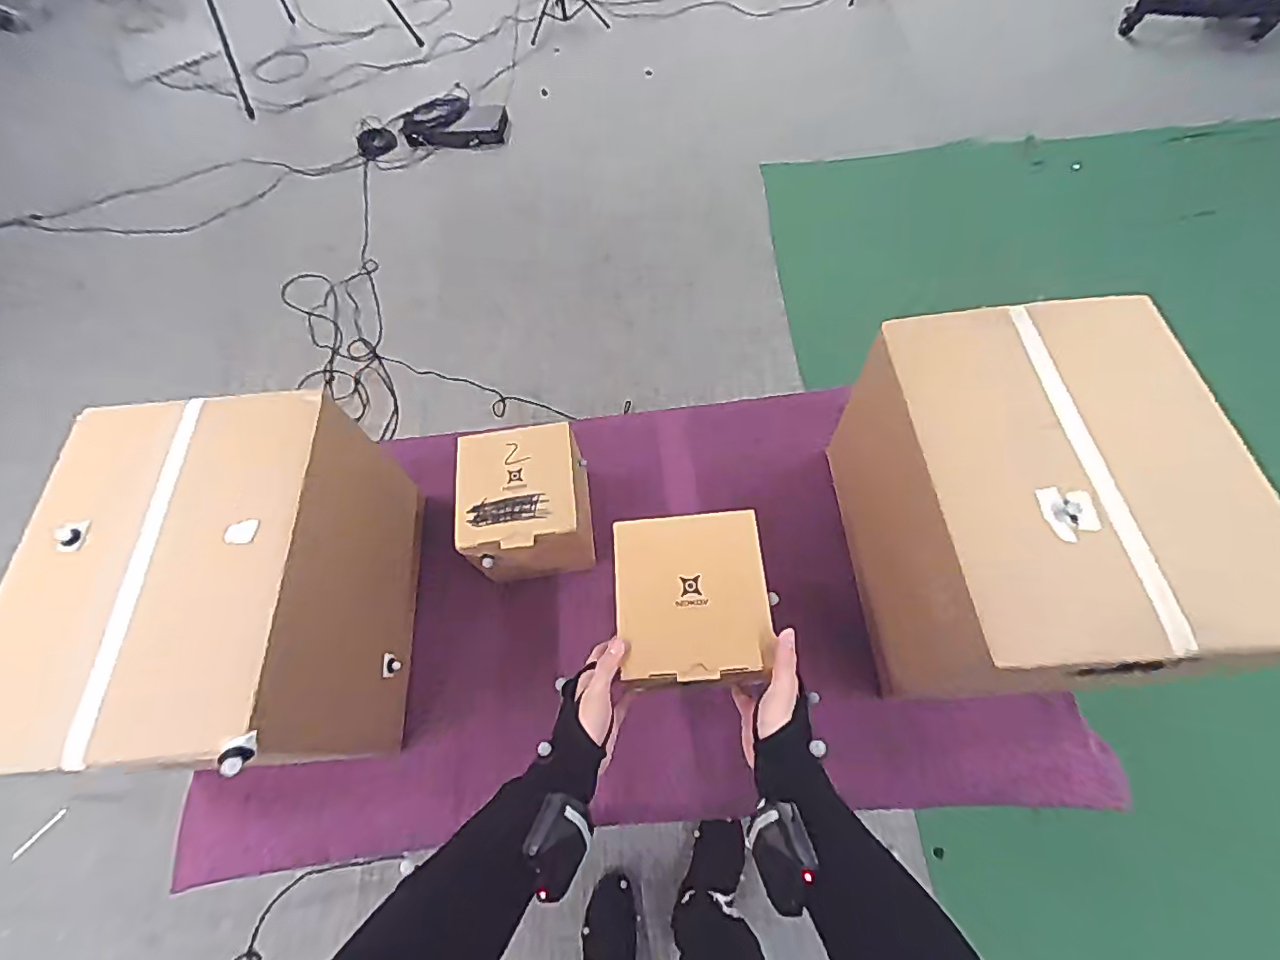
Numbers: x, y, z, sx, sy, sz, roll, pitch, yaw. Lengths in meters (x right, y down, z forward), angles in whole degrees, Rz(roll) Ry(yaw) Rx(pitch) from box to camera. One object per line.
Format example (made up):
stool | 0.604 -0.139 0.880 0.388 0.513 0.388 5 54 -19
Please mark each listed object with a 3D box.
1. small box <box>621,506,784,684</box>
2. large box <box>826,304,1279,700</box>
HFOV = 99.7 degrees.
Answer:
small box | 0.067 0.147 0.661 0.168 0.176 0.179 -5 66 2
large box | 0.466 0.045 0.688 0.320 0.320 0.408 -5 63 3
